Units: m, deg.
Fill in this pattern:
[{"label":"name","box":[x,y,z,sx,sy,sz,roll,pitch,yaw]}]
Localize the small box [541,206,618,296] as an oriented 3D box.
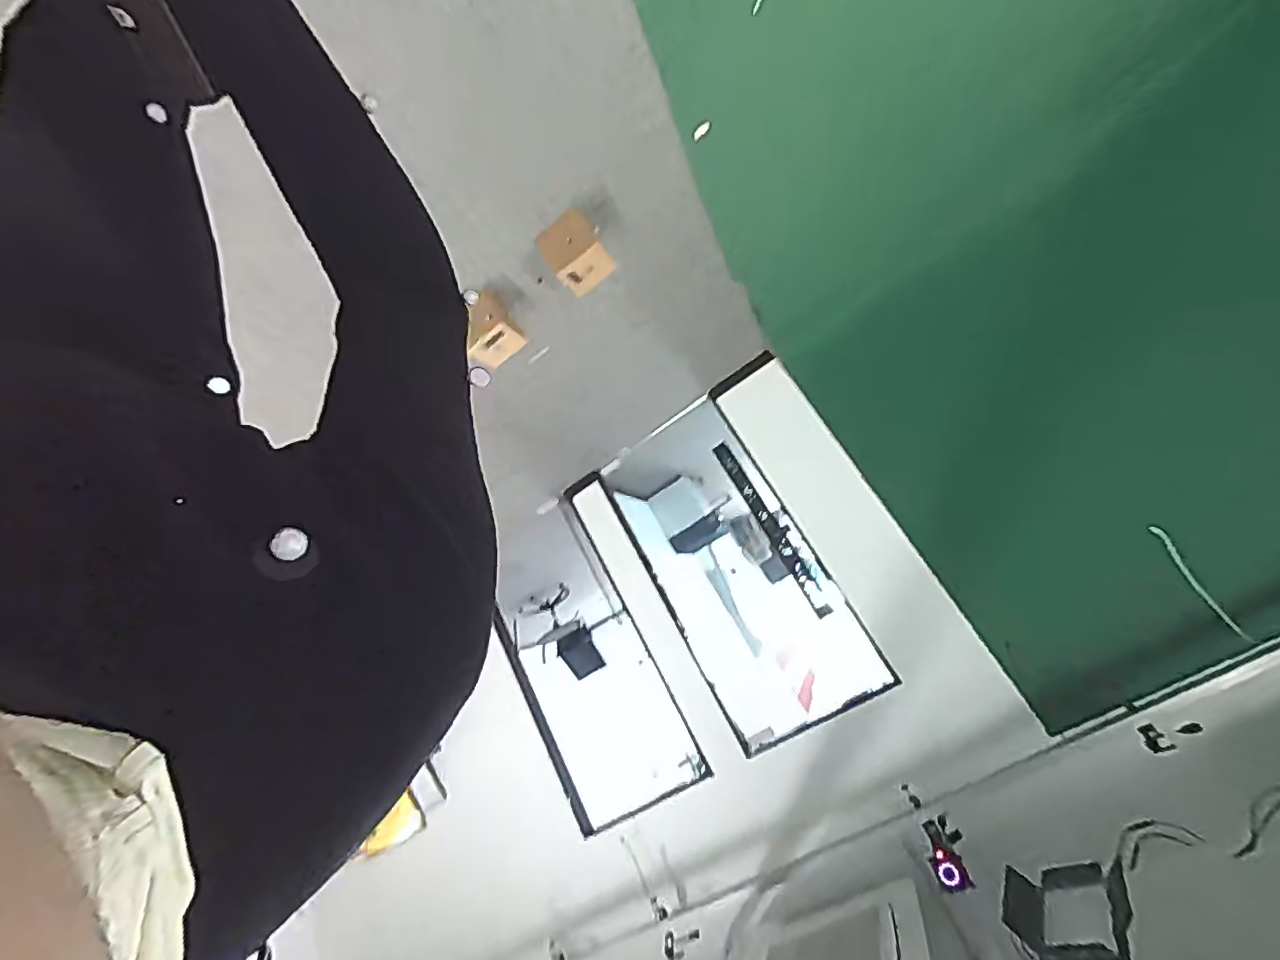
[{"label":"small box","box":[-0.208,-0.759,1.797,0.179,0.176,0.168,-35,162,12]}]
